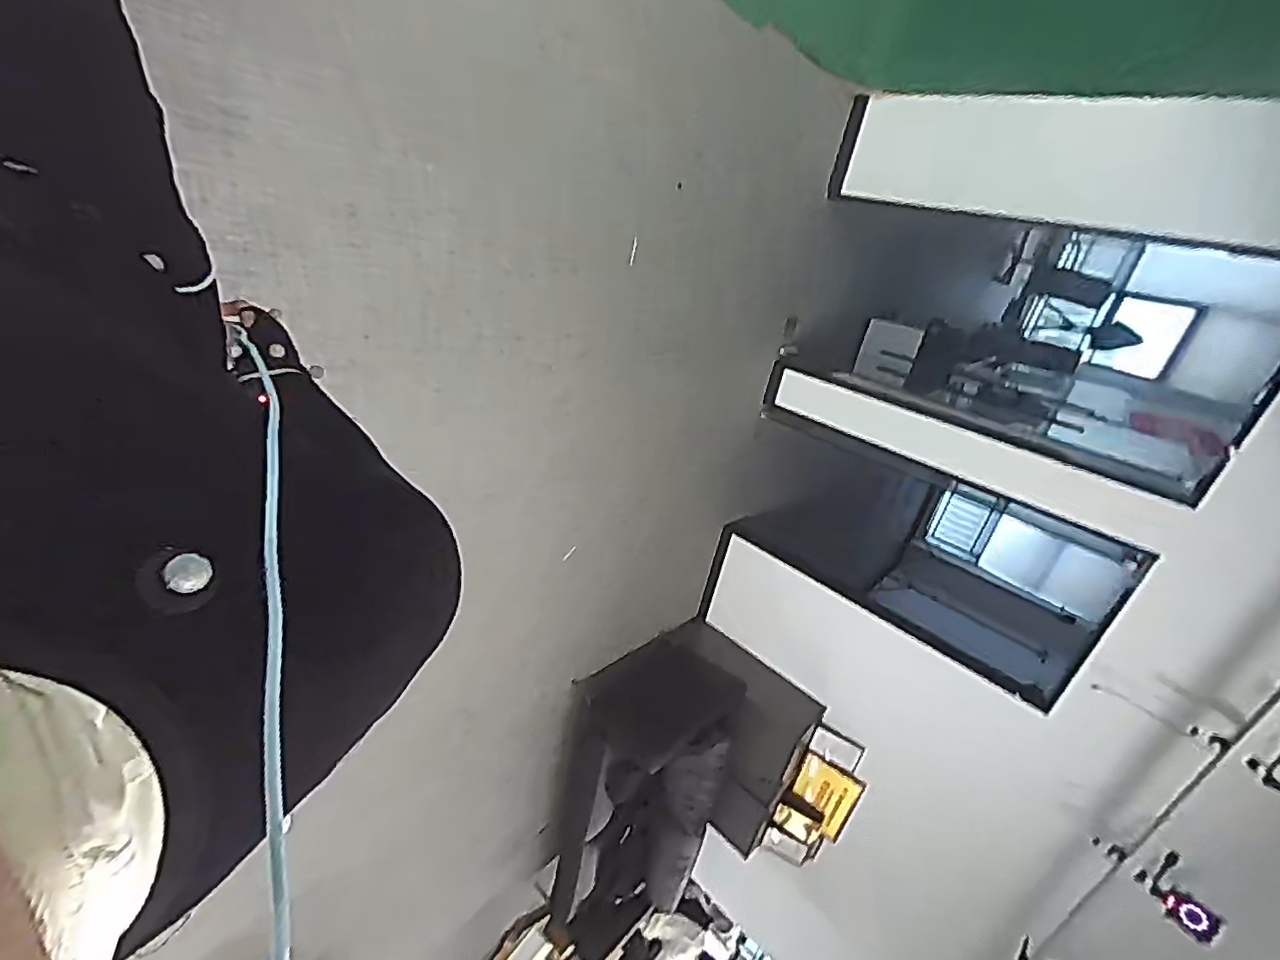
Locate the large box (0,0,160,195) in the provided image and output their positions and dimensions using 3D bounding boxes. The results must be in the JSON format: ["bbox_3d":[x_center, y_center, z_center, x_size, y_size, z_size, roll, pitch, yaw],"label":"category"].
[{"bbox_3d":[-1.046,-0.642,0.813,0.408,0.320,0.320,-17,127,-46],"label":"large box"}]
